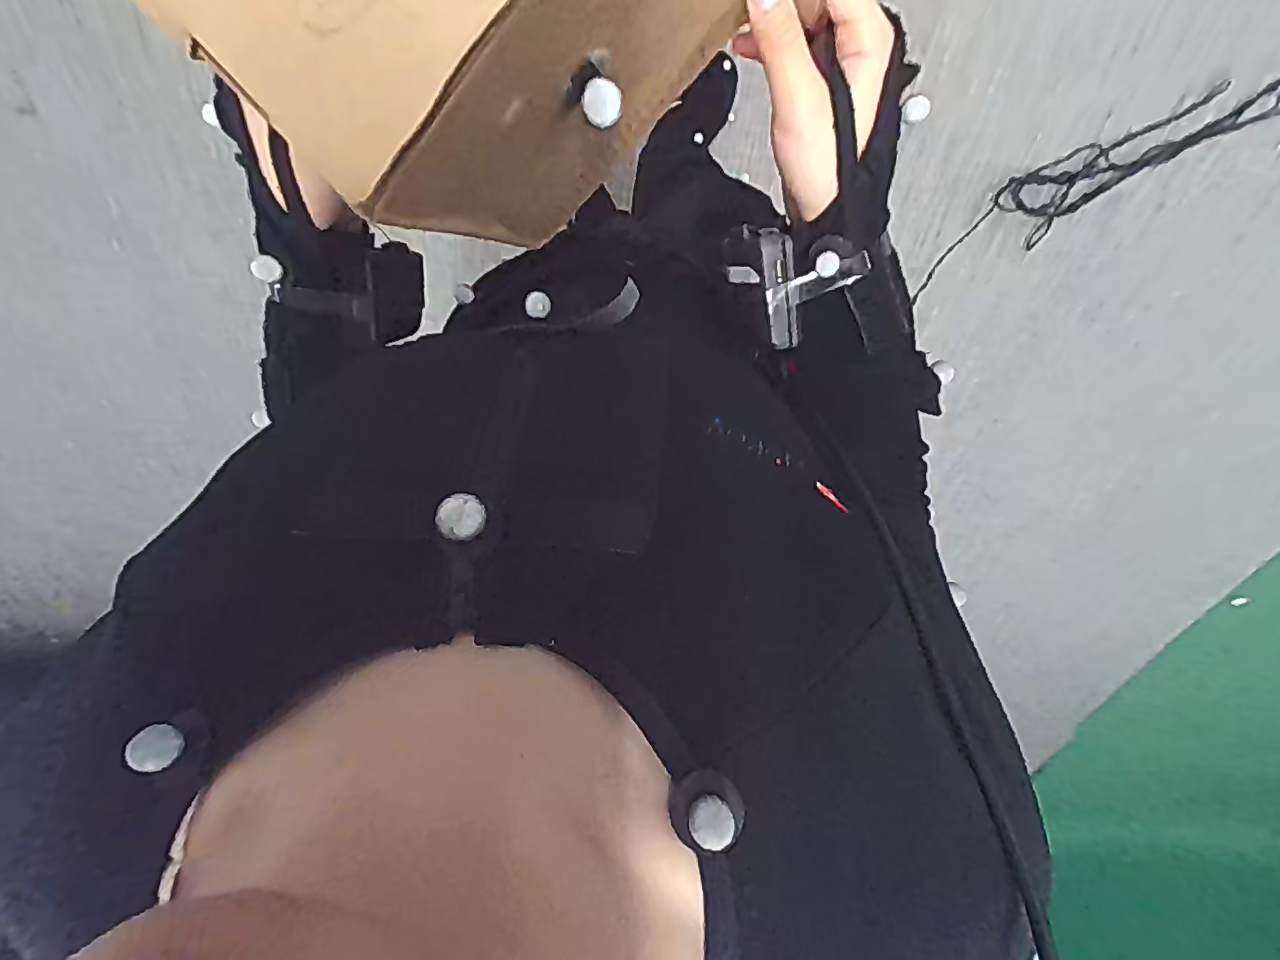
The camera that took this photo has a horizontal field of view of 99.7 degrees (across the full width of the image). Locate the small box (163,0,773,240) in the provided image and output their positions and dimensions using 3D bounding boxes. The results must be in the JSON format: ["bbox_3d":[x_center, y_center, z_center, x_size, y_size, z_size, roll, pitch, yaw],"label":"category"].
[{"bbox_3d":[-0.055,-0.209,0.189,0.179,0.176,0.168,-39,100,19],"label":"small box"}]
